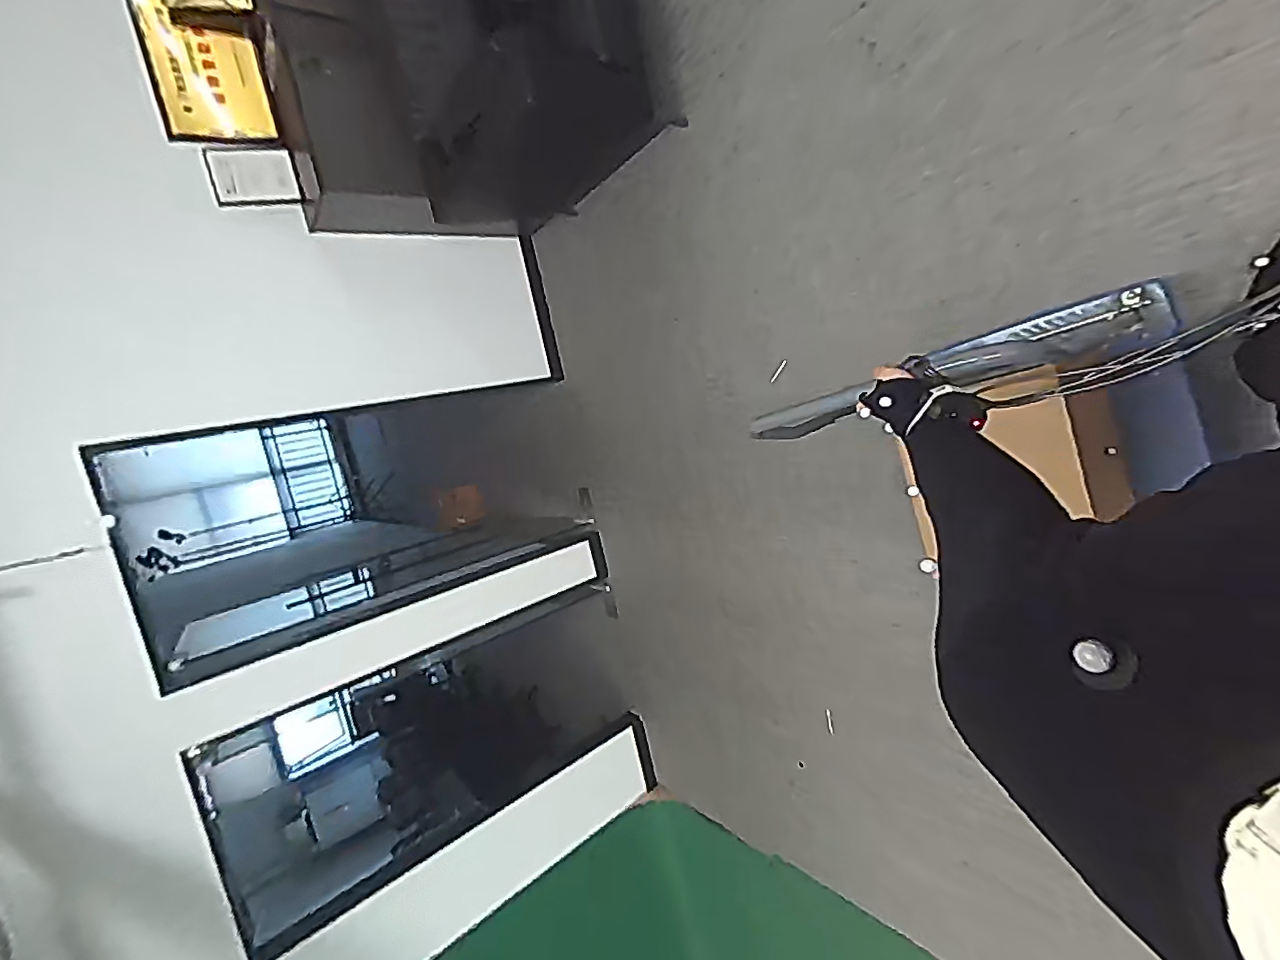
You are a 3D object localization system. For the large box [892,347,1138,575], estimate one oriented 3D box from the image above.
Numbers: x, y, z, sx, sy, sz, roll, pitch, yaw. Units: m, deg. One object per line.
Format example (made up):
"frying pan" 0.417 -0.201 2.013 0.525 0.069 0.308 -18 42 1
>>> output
"large box" 0.812 -0.037 1.172 0.320 0.320 0.408 -13 94 52
